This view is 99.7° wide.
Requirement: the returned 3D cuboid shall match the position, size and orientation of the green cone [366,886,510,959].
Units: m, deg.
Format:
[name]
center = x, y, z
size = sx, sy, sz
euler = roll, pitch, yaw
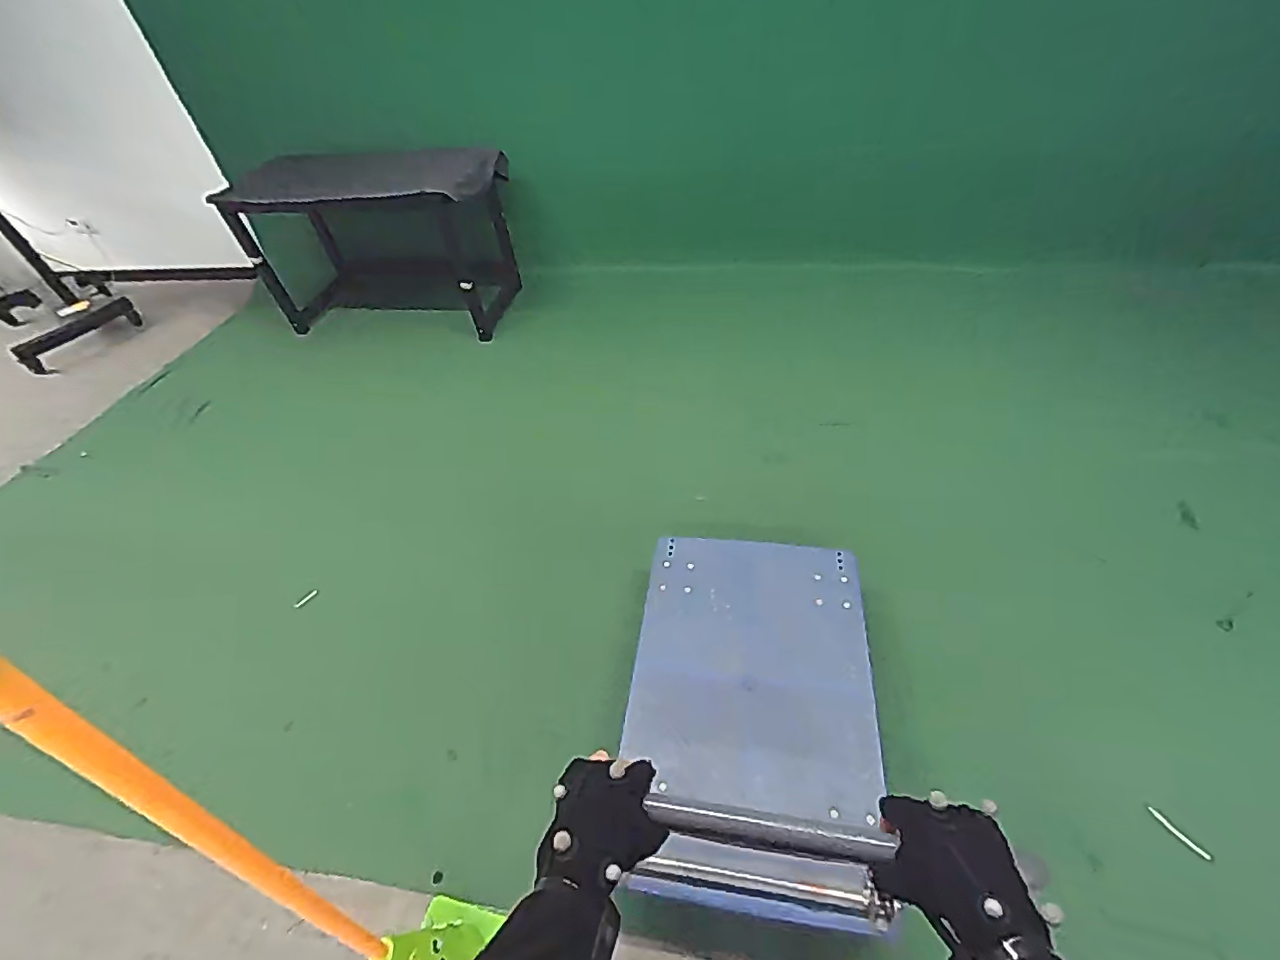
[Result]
[green cone]
center = -0.410, 0.877, 1.017
size = 0.202, 0.368, 0.200
euler = 6, 46, 13
